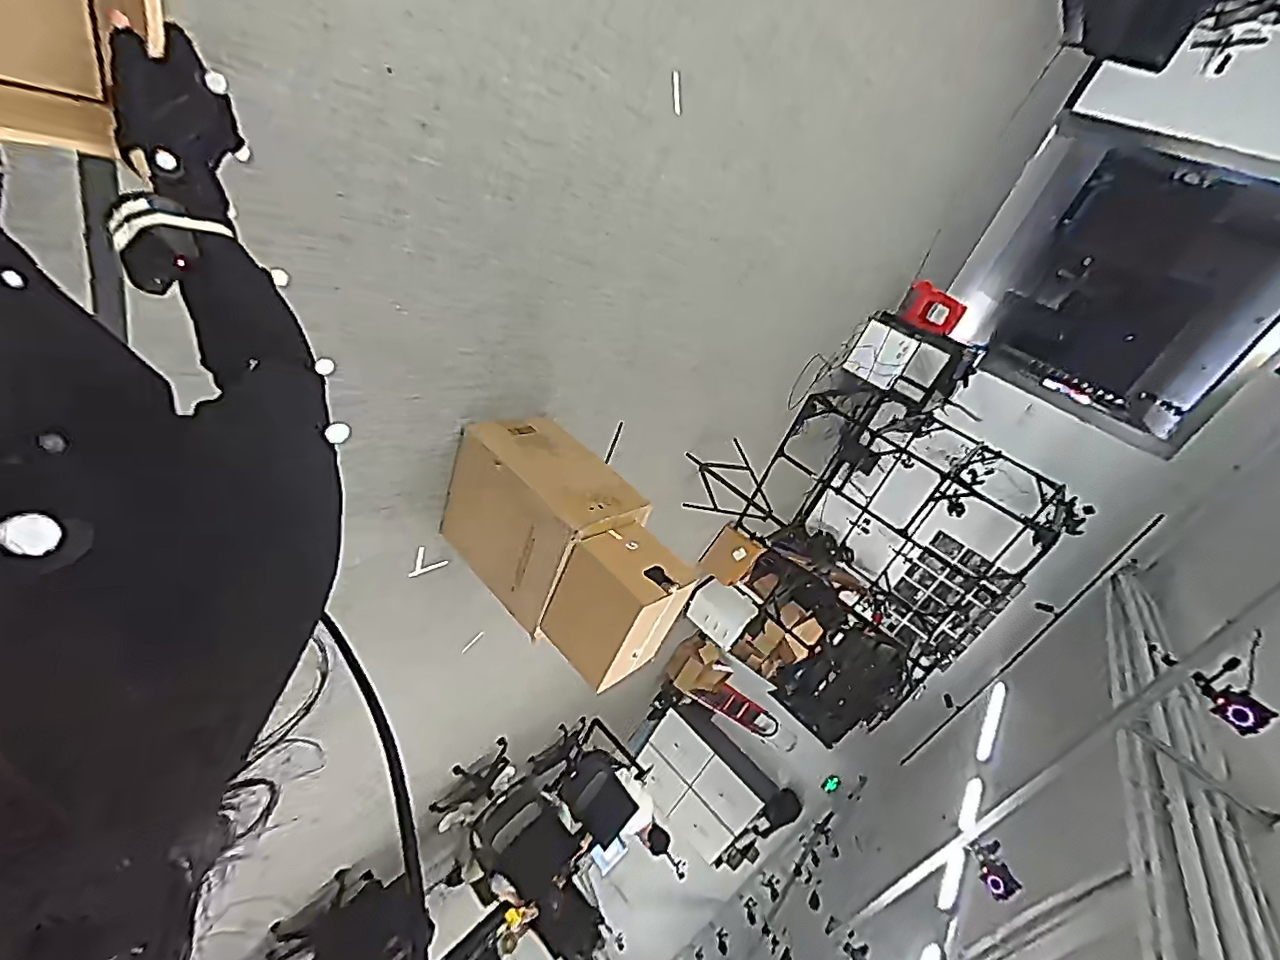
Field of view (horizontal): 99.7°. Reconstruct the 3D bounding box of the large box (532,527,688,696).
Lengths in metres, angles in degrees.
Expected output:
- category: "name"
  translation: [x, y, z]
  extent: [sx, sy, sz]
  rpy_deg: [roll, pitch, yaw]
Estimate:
- category: "large box"
  translation: [-0.108, 0.428, 1.825]
  extent: [0.320, 0.320, 0.408]
  rpy_deg: [-12, 135, -51]
